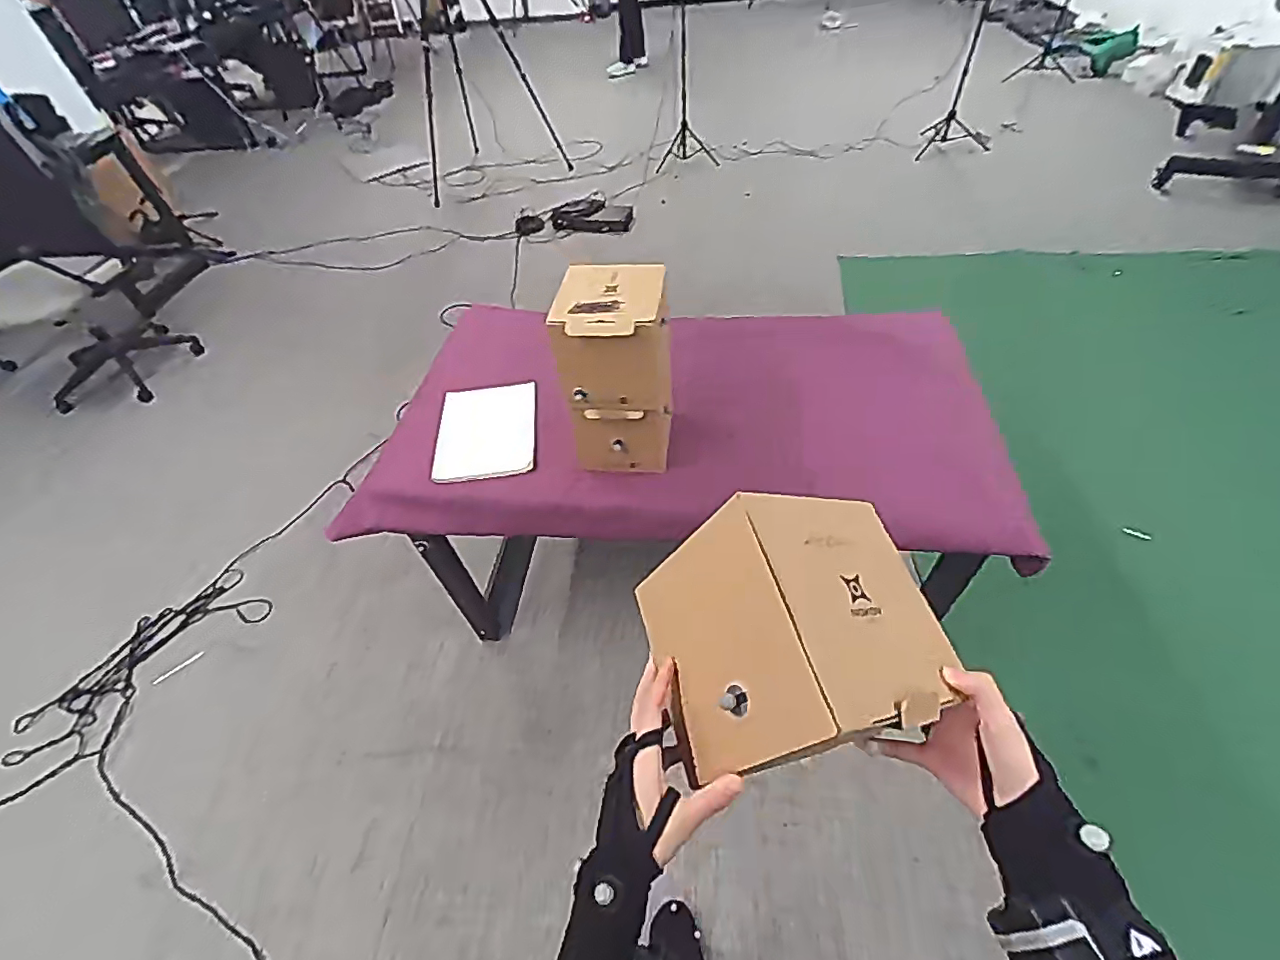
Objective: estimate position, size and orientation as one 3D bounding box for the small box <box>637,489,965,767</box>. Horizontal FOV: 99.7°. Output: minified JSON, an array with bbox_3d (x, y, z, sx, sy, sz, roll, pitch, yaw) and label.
[{"bbox_3d":[0.120,0.129,0.464,0.168,0.176,0.179,5,51,-32],"label":"small box"}]

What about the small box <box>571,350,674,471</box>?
[{"bbox_3d":[-0.024,-0.133,1.037,0.168,0.176,0.179,3,50,8],"label":"small box"}]

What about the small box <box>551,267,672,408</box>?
[{"bbox_3d":[-0.036,-0.236,0.908,0.168,0.176,0.179,3,48,8],"label":"small box"}]
